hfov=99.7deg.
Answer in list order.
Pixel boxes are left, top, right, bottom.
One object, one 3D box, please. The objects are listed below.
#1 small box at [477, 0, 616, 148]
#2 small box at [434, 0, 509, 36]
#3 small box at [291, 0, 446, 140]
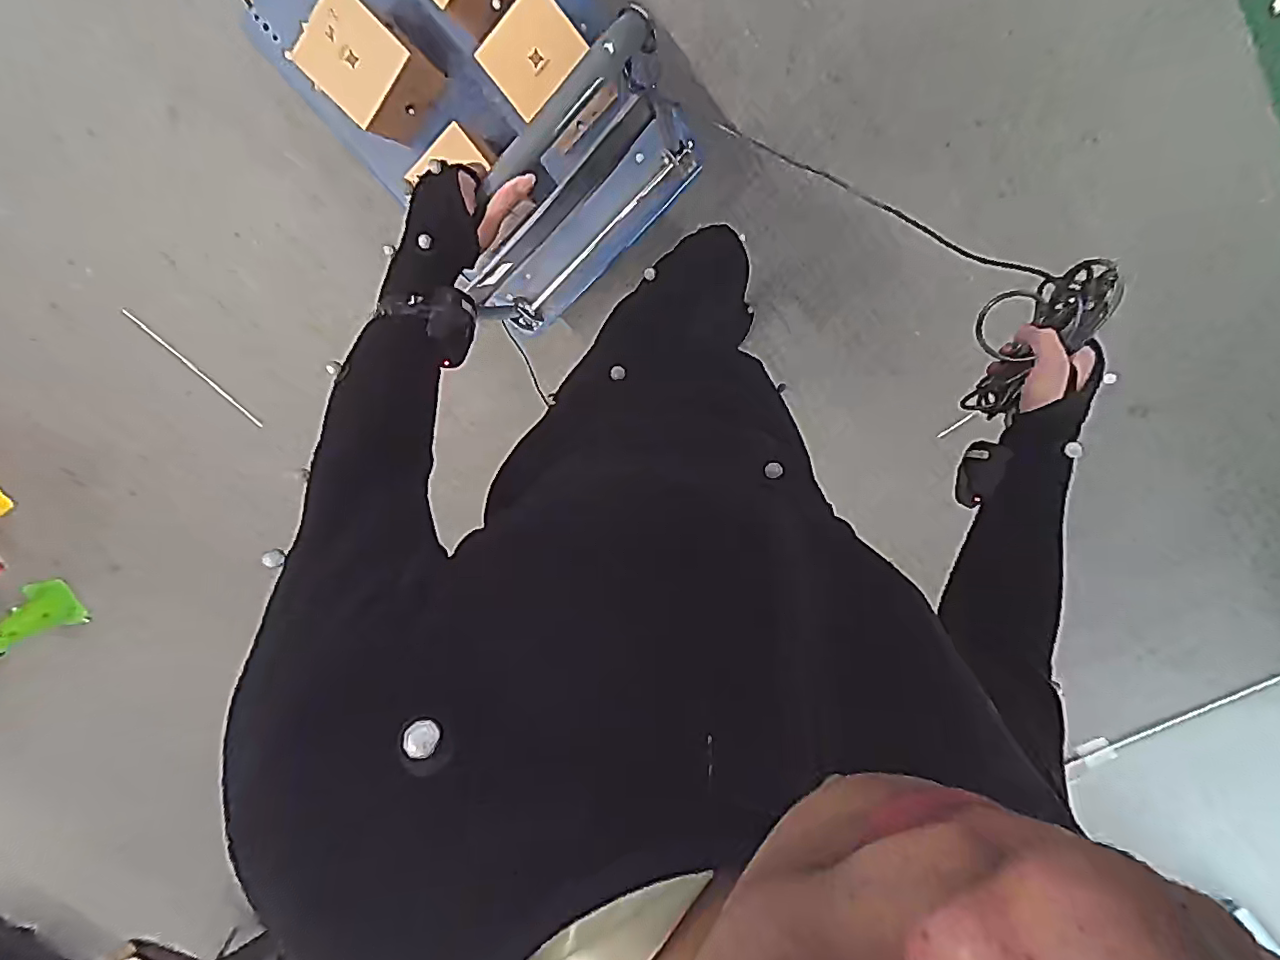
[{"bbox_3d":[-0.168,-0.773,1.028,0.168,0.176,0.179,-38,104,19],"label":"small box"},{"bbox_3d":[-0.336,-0.960,0.972,0.168,0.176,0.179,-41,103,21],"label":"small box"},{"bbox_3d":[-0.519,-0.803,1.059,0.179,0.176,0.168,43,110,-10],"label":"small box"}]
